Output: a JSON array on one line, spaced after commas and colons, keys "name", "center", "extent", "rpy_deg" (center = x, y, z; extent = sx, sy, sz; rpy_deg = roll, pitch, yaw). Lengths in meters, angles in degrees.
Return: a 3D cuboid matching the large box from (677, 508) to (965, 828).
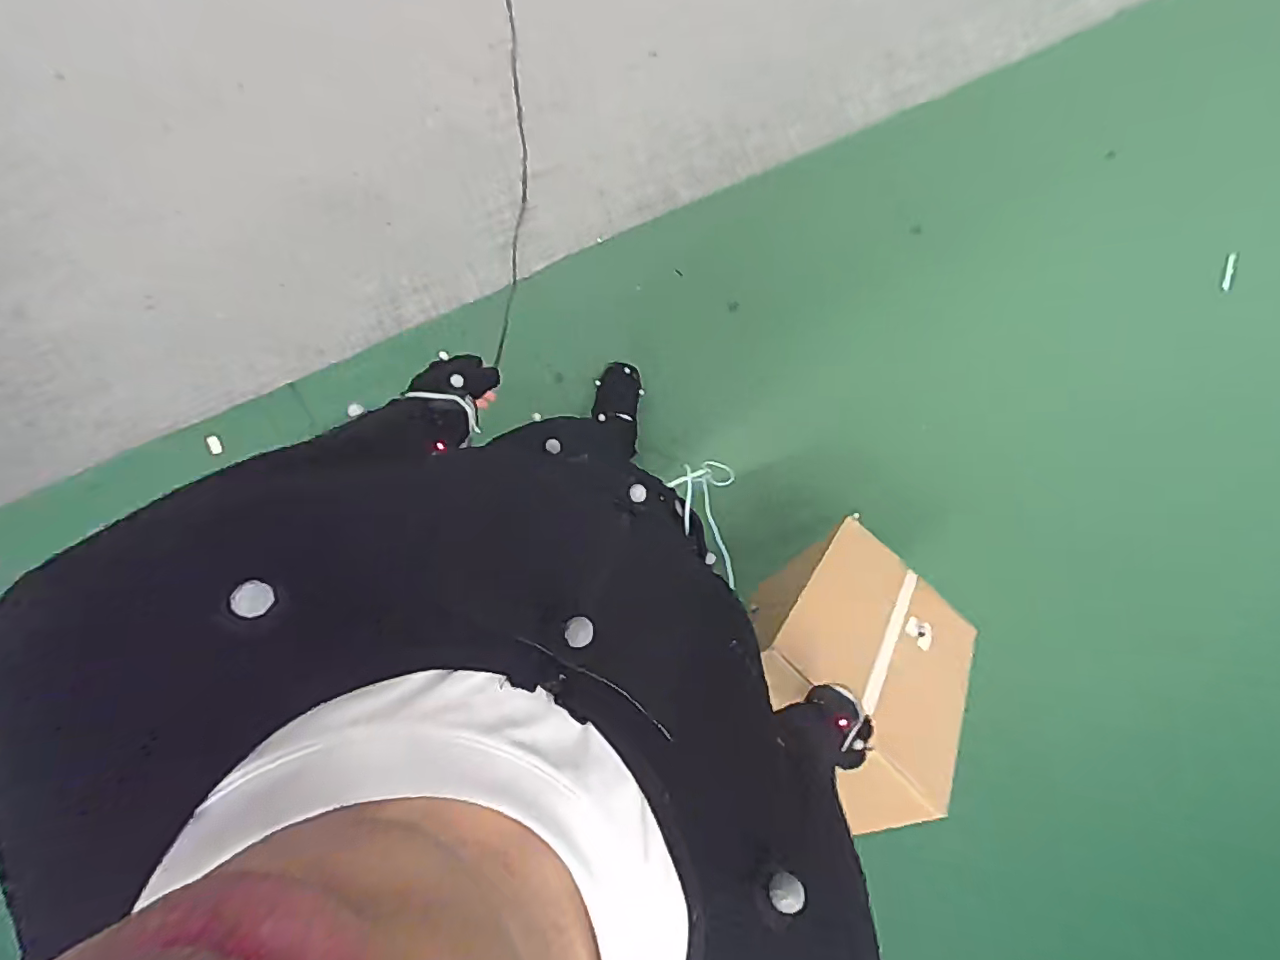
[{"name": "large box", "center": [0.336, 0.330, 0.997], "extent": [0.320, 0.408, 0.320], "rpy_deg": [44, 132, 8]}]
